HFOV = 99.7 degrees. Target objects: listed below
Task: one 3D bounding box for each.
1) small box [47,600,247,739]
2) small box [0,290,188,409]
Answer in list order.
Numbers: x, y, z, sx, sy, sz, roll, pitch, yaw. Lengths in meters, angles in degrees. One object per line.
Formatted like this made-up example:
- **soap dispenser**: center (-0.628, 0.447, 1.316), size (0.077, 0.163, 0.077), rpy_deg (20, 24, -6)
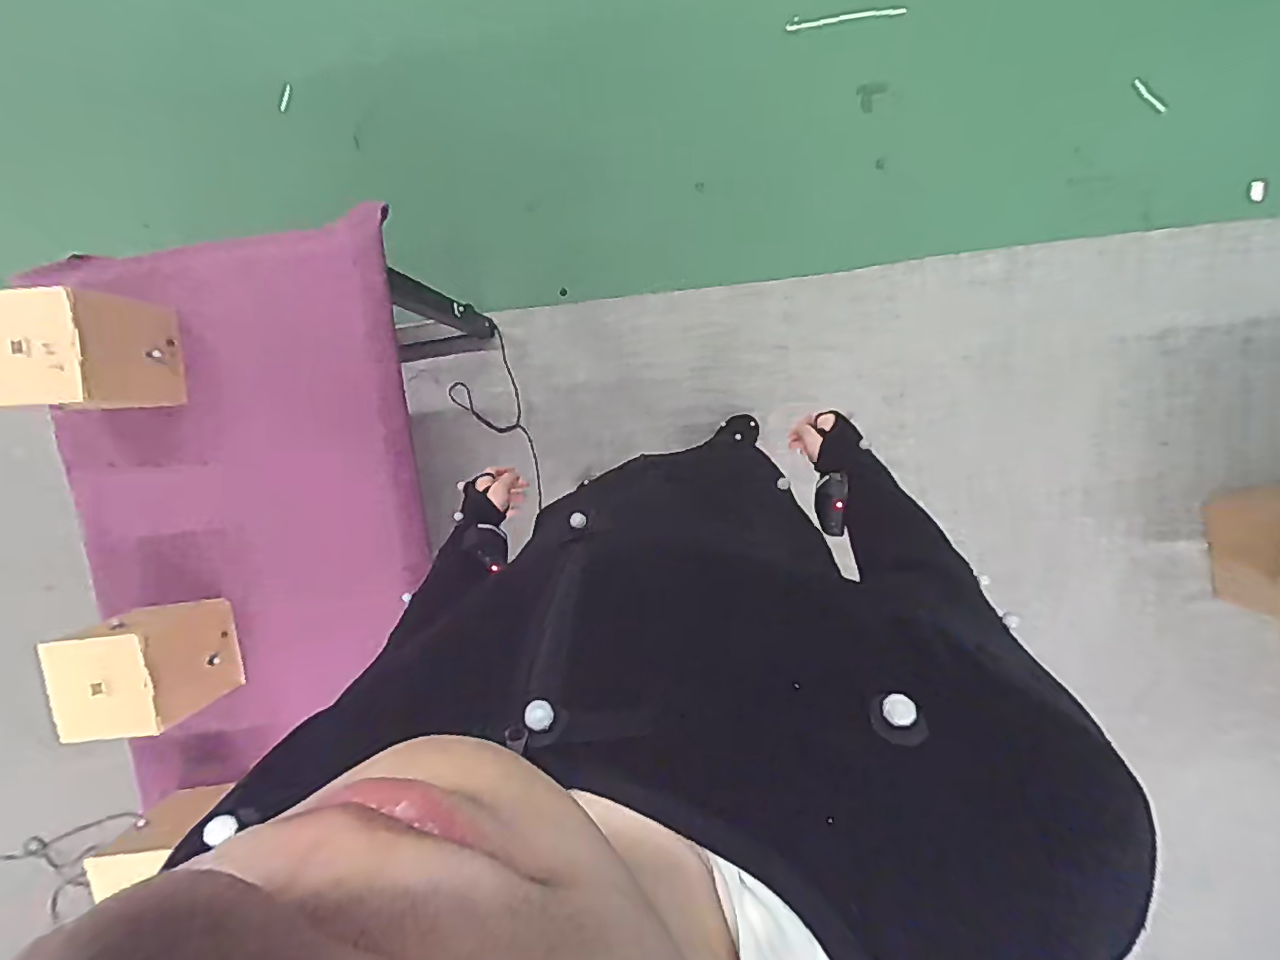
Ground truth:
- **small box**: center (-0.829, 0.315, 0.925), size (0.179, 0.176, 0.168), rpy_deg (-7, 95, 5)
- **small box**: center (-0.886, -0.199, 0.869), size (0.179, 0.176, 0.168), rpy_deg (-2, 97, 5)
